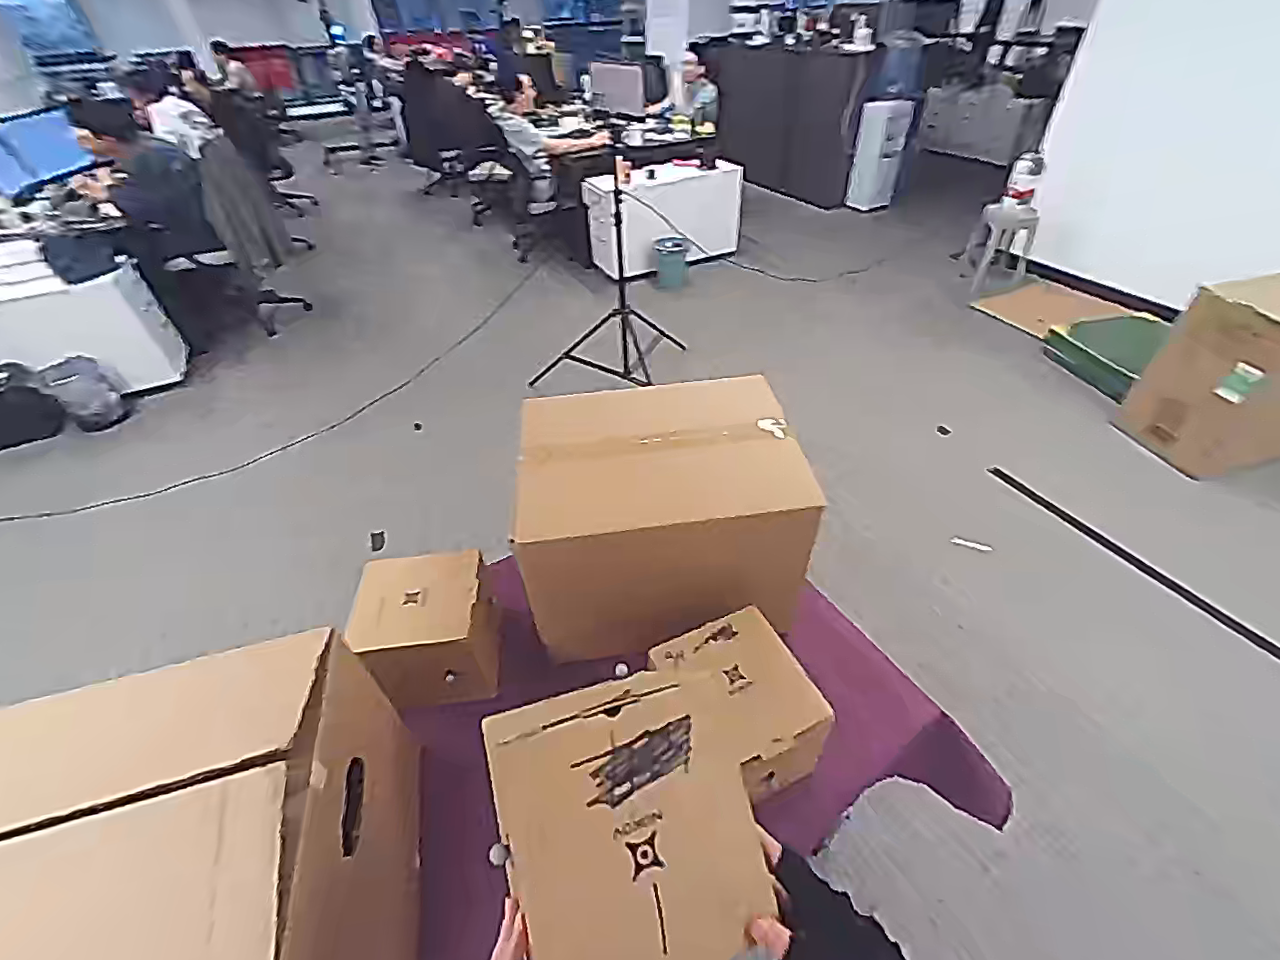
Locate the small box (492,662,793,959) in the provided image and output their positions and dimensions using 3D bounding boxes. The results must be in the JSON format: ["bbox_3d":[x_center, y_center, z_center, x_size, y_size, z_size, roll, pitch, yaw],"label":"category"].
[{"bbox_3d":[-0.017,0.251,0.423,0.168,0.176,0.179,-8,76,-21],"label":"small box"}]

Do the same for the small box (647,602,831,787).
[{"bbox_3d":[0.121,0.302,0.716,0.168,0.176,0.179,-18,44,-16],"label":"small box"}]
